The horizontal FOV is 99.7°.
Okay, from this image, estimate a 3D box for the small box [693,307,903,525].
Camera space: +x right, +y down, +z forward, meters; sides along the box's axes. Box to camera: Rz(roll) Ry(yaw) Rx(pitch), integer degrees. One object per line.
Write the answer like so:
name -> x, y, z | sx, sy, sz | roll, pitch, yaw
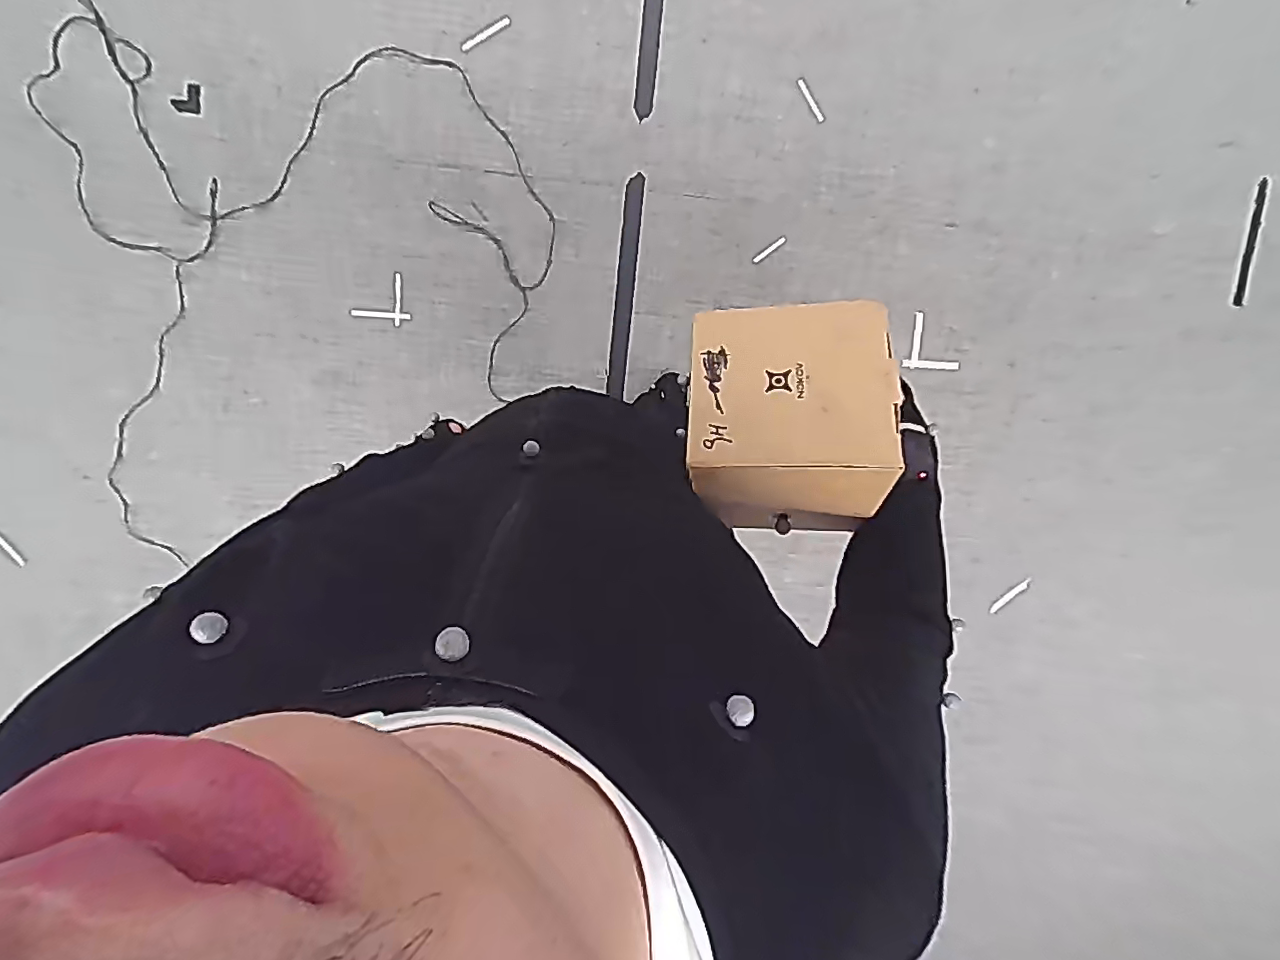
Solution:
small box -> 0.151, -0.057, 0.562 | 0.179, 0.176, 0.168 | 1, 66, 11
